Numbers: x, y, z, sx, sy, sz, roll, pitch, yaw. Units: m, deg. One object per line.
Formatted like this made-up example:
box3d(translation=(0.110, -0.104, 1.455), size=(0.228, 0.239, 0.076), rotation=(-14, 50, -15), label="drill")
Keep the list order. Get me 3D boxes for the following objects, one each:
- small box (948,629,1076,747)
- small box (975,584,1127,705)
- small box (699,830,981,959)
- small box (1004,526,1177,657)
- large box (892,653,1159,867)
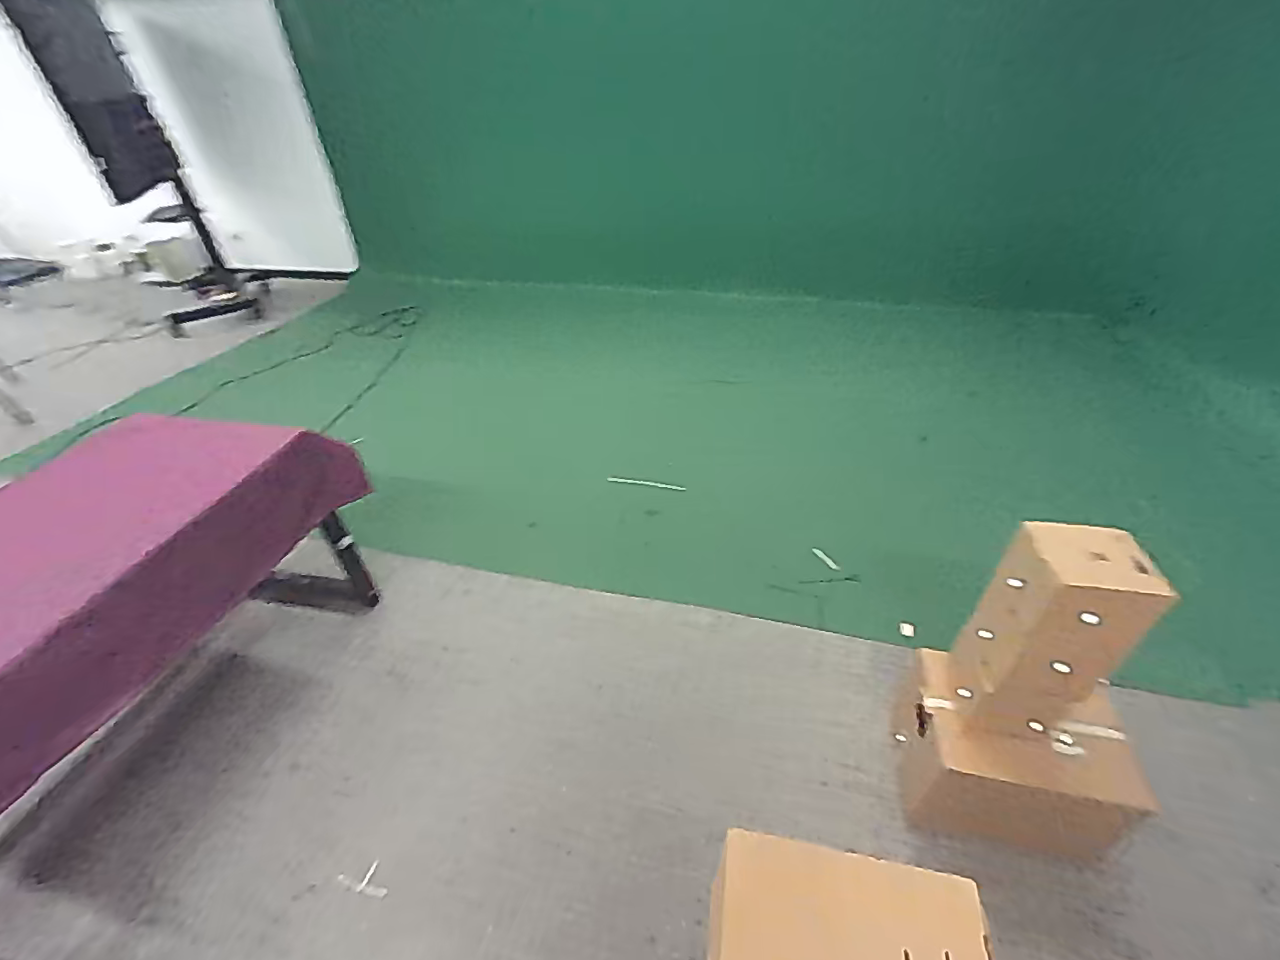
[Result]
box3d(translation=(0.816, 0.465, 1.207), size=(0.168, 0.176, 0.179), rotation=(7, 38, 11), label="small box")
box3d(translation=(0.818, 0.336, 1.106), size=(0.179, 0.176, 0.168), rotation=(5, 38, 7), label="small box")
box3d(translation=(0.131, 0.386, 0.390), size=(0.179, 0.176, 0.168), rotation=(6, 42, 9), label="small box")
box3d(translation=(0.811, 0.206, 1.004), size=(0.179, 0.176, 0.168), rotation=(5, 38, 10), label="small box")
box3d(translation=(0.888, 0.677, 1.327), size=(0.408, 0.320, 0.320), rotation=(8, 39, 11), label="large box")
